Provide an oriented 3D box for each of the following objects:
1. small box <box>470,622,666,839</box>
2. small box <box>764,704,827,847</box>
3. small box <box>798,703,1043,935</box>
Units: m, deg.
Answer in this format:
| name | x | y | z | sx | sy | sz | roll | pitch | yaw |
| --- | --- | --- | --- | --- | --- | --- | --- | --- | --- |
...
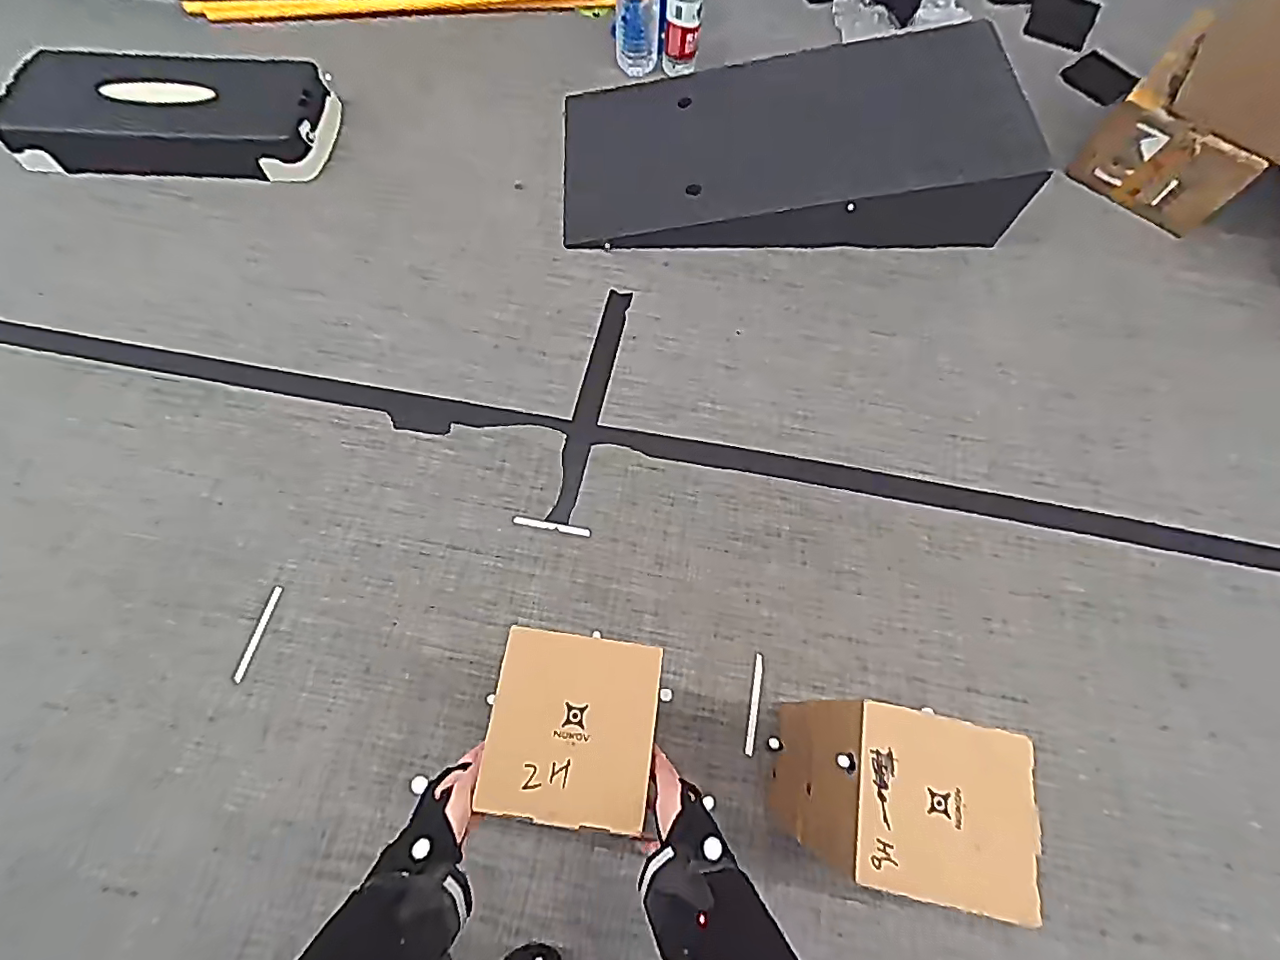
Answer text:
| name | x | y | z | sx | sy | sz | roll | pitch | yaw |
| --- | --- | --- | --- | --- | --- | --- | --- | --- | --- |
| small box | -0.071 | 0.270 | 0.606 | 0.168 | 0.176 | 0.179 | 9 | 68 | 1 |
| small box | 0.287 | 0.413 | 0.744 | 0.179 | 0.176 | 0.168 | 14 | 68 | 4 |
| small box | 0.293 | 0.349 | 0.593 | 0.179 | 0.176 | 0.168 | 13 | 67 | 2 |
